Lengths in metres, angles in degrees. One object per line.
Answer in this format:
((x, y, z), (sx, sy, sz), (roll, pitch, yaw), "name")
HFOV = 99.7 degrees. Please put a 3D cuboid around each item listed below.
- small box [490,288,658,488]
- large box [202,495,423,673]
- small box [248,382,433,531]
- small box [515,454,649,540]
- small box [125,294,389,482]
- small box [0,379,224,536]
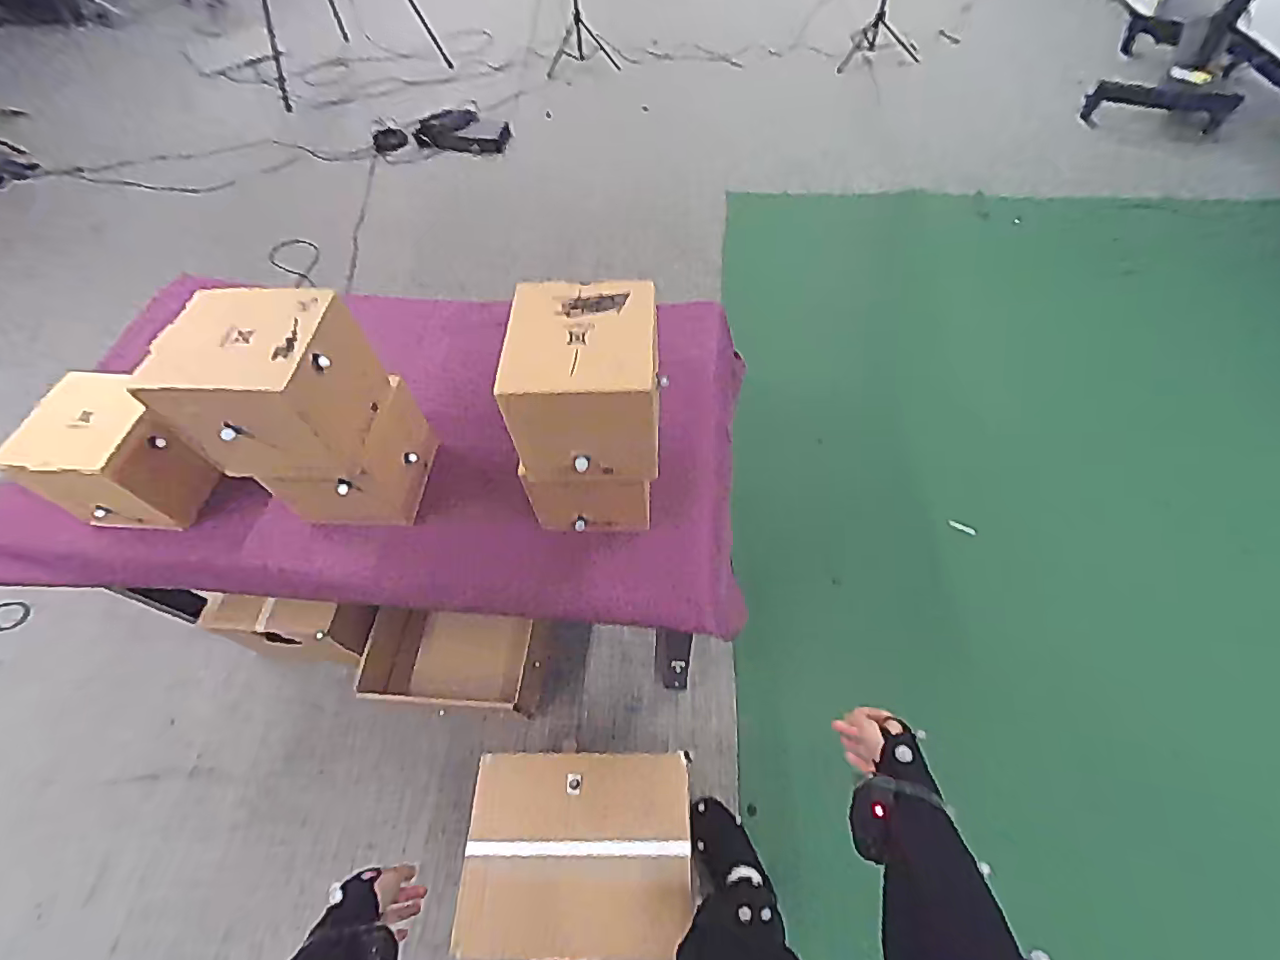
((-0.065, -0.109, 0.657), (0.168, 0.176, 0.179), (-1, 56, 4), "small box")
((-0.823, 0.267, 1.435), (0.320, 0.320, 0.408), (2, 58, 4), "large box")
((-0.440, -0.033, 0.821), (0.179, 0.176, 0.168), (1, 56, 4), "small box")
((-0.074, -0.028, 0.801), (0.168, 0.176, 0.179), (-1, 56, 4), "small box")
((-0.452, -0.109, 0.675), (0.179, 0.176, 0.168), (0, 57, 3), "small box")
((-0.792, -0.033, 0.839), (0.168, 0.176, 0.179), (3, 57, 4), "small box")
